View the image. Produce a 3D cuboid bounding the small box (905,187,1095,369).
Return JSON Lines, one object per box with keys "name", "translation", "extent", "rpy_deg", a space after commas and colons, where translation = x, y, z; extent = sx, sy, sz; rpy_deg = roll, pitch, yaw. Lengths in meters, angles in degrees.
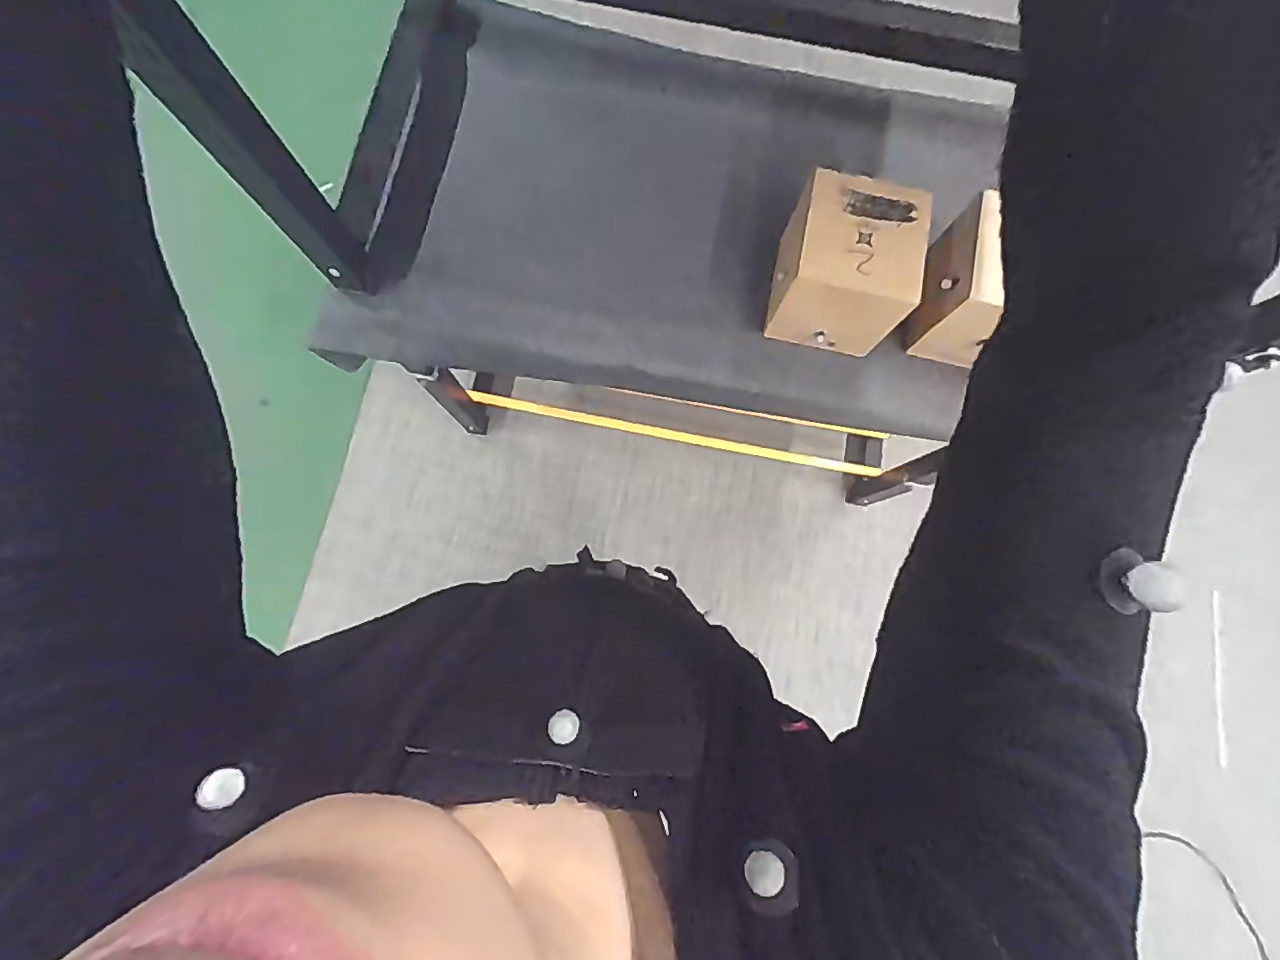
{"name": "small box", "translation": [0.519, -0.286, 0.801], "extent": [0.168, 0.176, 0.179], "rpy_deg": [14, 78, 0]}
